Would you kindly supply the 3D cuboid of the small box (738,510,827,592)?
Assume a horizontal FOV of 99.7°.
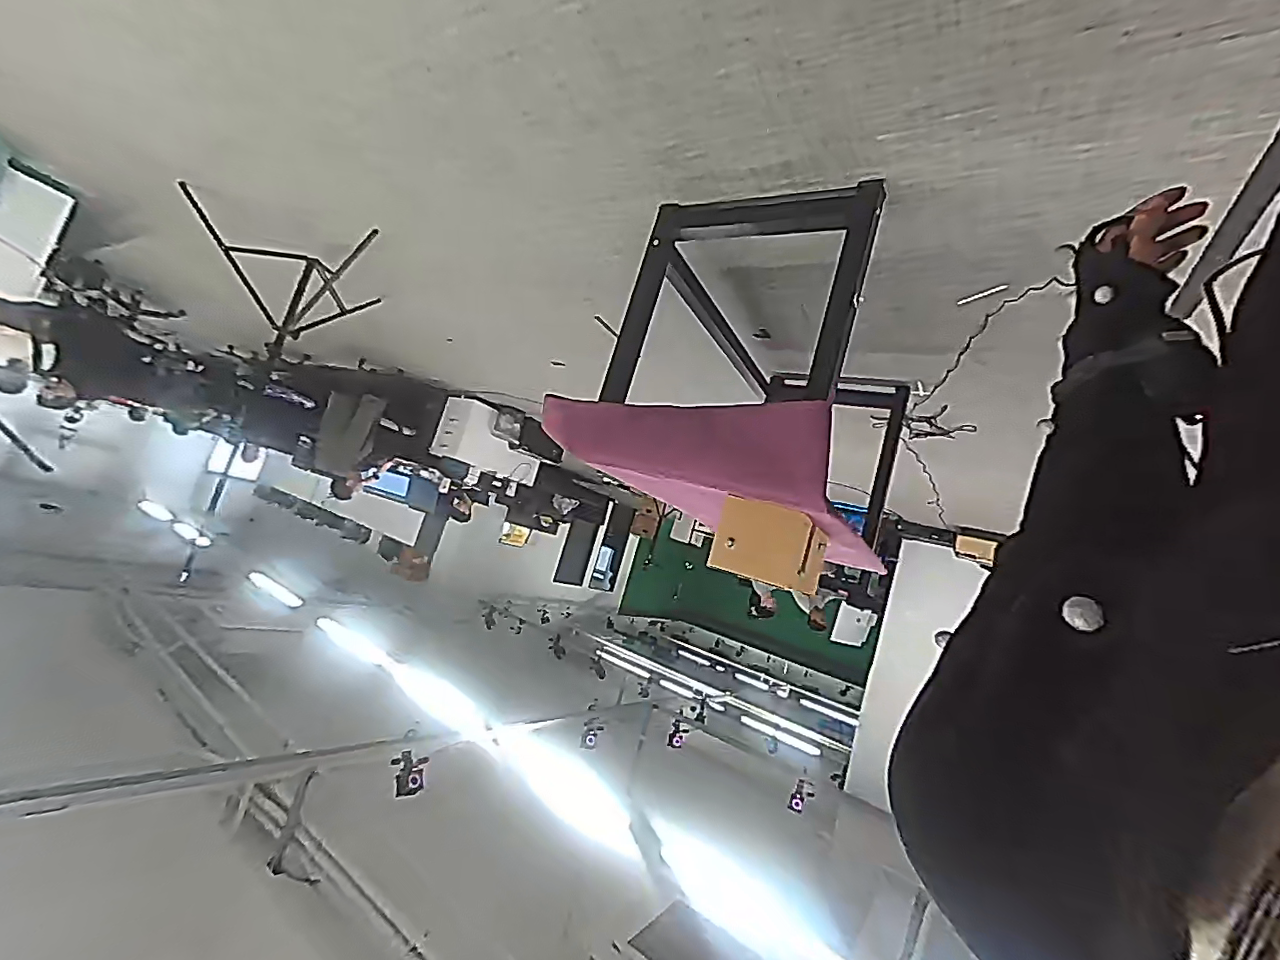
[{"bbox_3d":[0.373,0.182,1.404,0.168,0.176,0.179,11,171,32],"label":"small box"}]
